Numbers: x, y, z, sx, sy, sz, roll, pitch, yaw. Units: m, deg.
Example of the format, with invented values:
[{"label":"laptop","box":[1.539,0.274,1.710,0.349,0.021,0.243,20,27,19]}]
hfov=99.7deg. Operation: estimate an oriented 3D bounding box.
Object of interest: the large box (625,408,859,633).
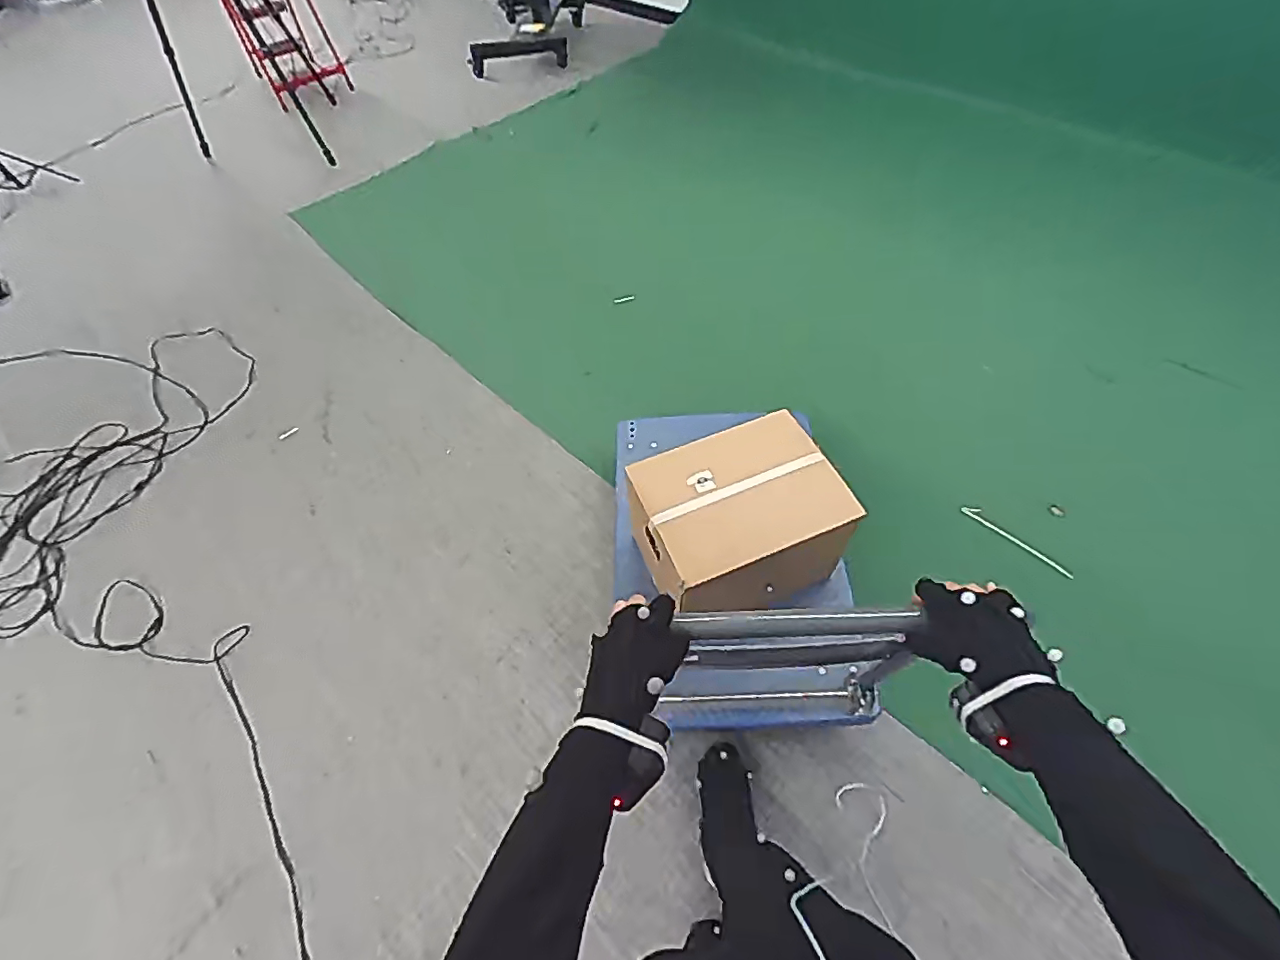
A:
[{"label":"large box","box":[0.214,0.100,1.255,0.408,0.320,0.320,-21,57,-9]}]
